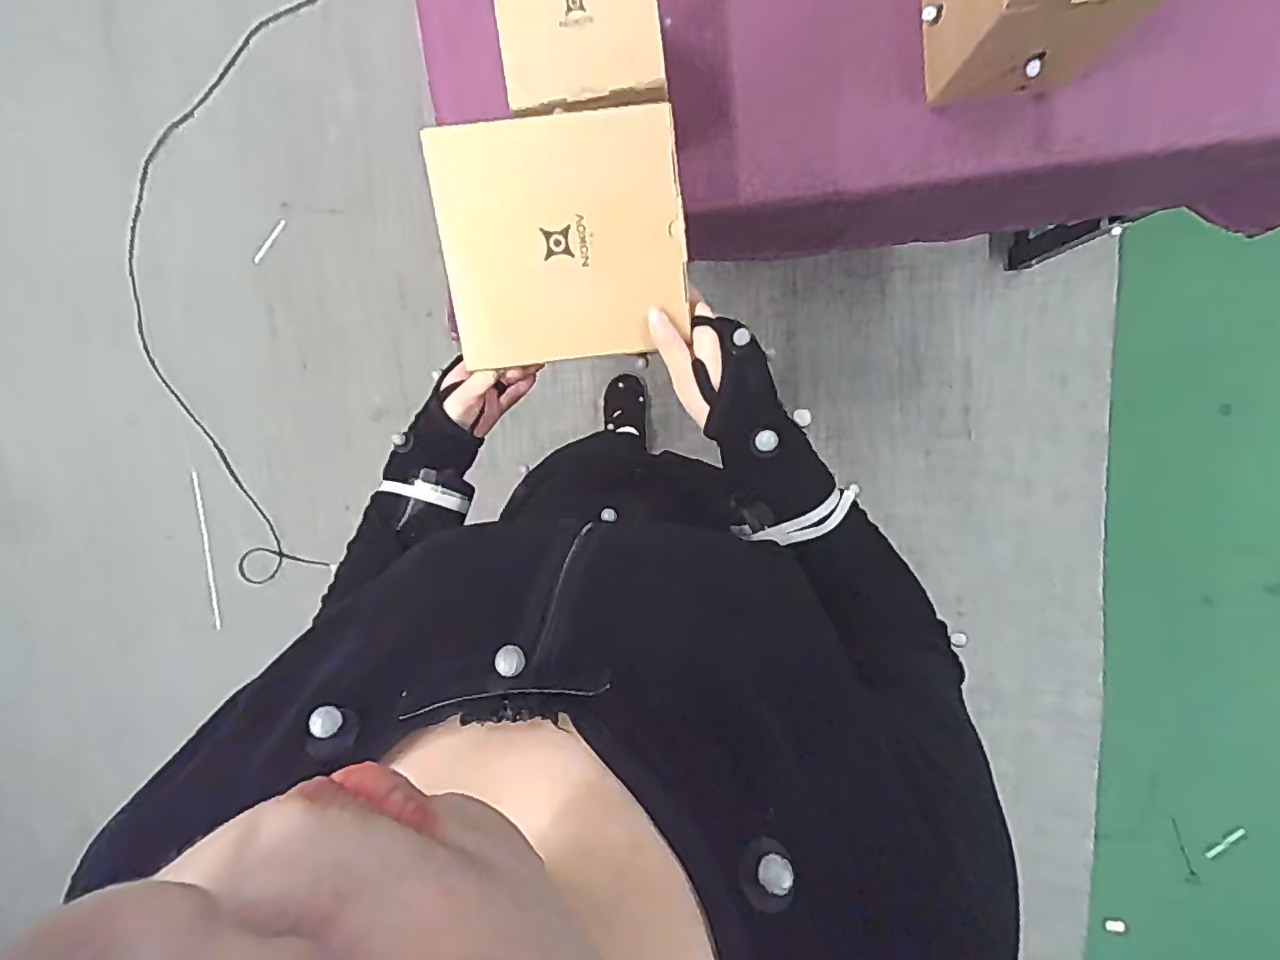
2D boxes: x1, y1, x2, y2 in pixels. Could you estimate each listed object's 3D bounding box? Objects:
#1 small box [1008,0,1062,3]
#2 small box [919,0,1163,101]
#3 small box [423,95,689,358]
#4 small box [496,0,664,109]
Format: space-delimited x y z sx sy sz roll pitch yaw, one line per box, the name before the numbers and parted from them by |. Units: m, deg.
small box | 0.417 -0.529 0.426 0.179 0.176 0.168 -6 96 4
small box | 0.424 -0.550 0.590 0.168 0.176 0.179 -5 97 4
small box | -0.060 -0.196 0.468 0.179 0.176 0.168 -7 104 -2
small box | -0.060 -0.484 0.627 0.168 0.176 0.179 -7 95 3
